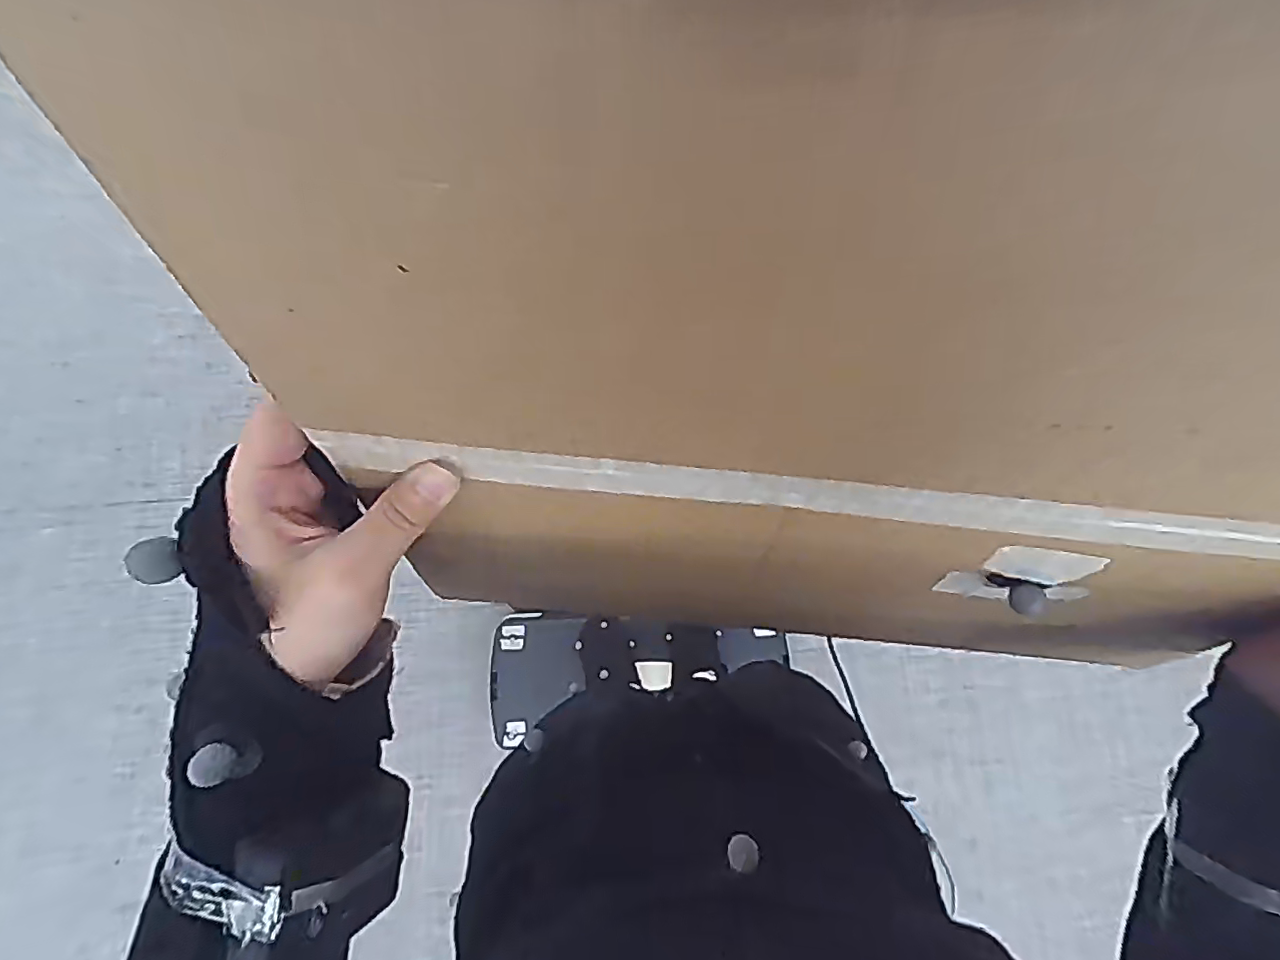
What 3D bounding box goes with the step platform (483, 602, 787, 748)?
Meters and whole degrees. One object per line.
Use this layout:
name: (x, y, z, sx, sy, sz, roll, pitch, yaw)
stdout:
step platform: (-0.010, 0.444, 1.261, 0.684, 0.204, 0.286, 2, 79, 0)
